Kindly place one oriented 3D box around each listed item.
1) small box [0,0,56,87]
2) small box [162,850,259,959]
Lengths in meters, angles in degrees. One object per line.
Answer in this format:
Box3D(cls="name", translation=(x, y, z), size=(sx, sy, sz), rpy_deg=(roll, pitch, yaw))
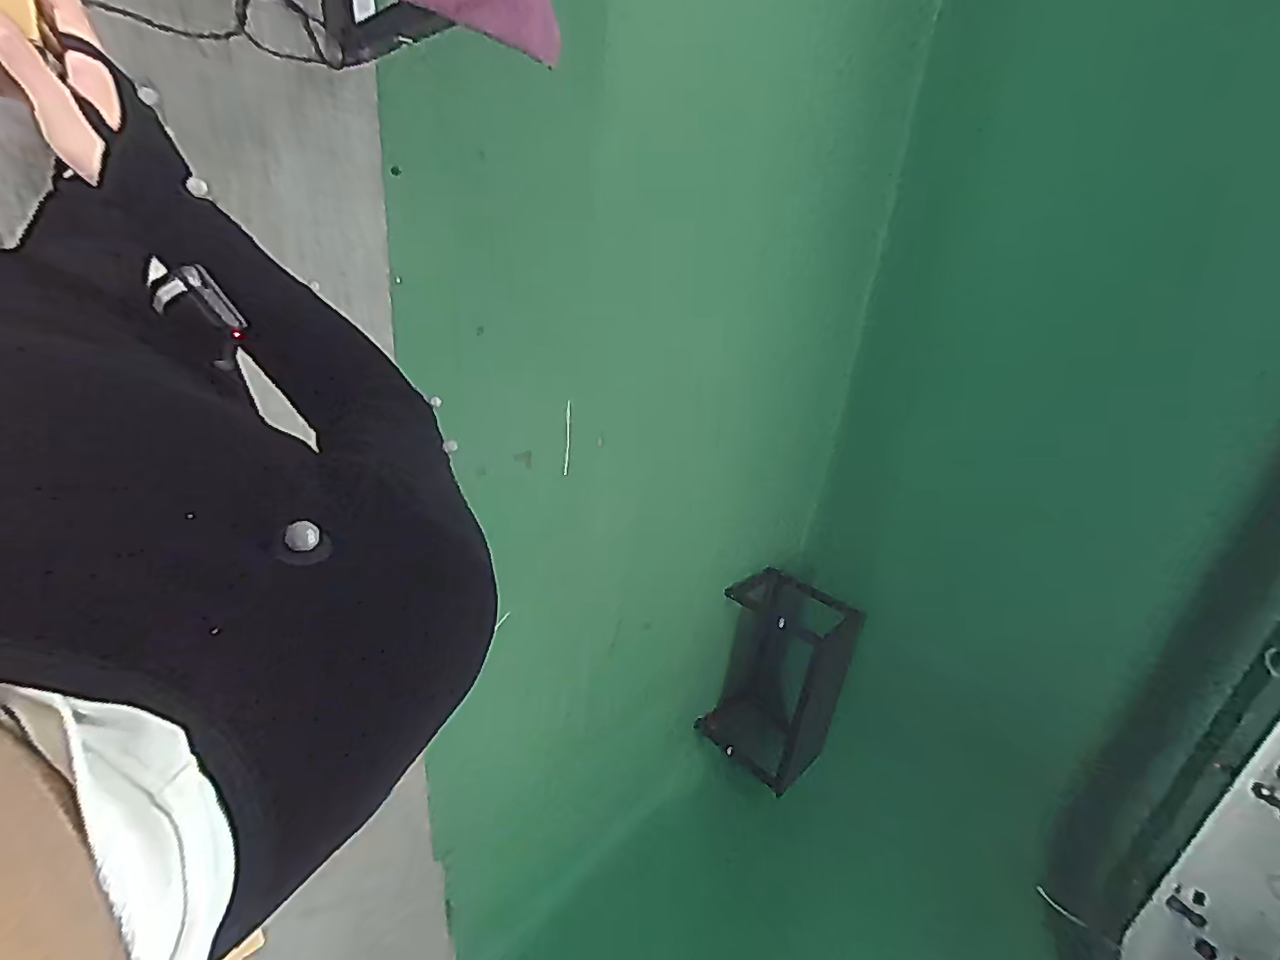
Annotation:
Box3D(cls="small box", translation=(-0.523, -0.405, 0.359), size=(0.168, 0.176, 0.179), rpy_deg=(-10, 112, -44))
Box3D(cls="small box", translation=(-1.173, 1.174, 1.480), size=(0.168, 0.176, 0.179), rpy_deg=(-18, 124, -43))
